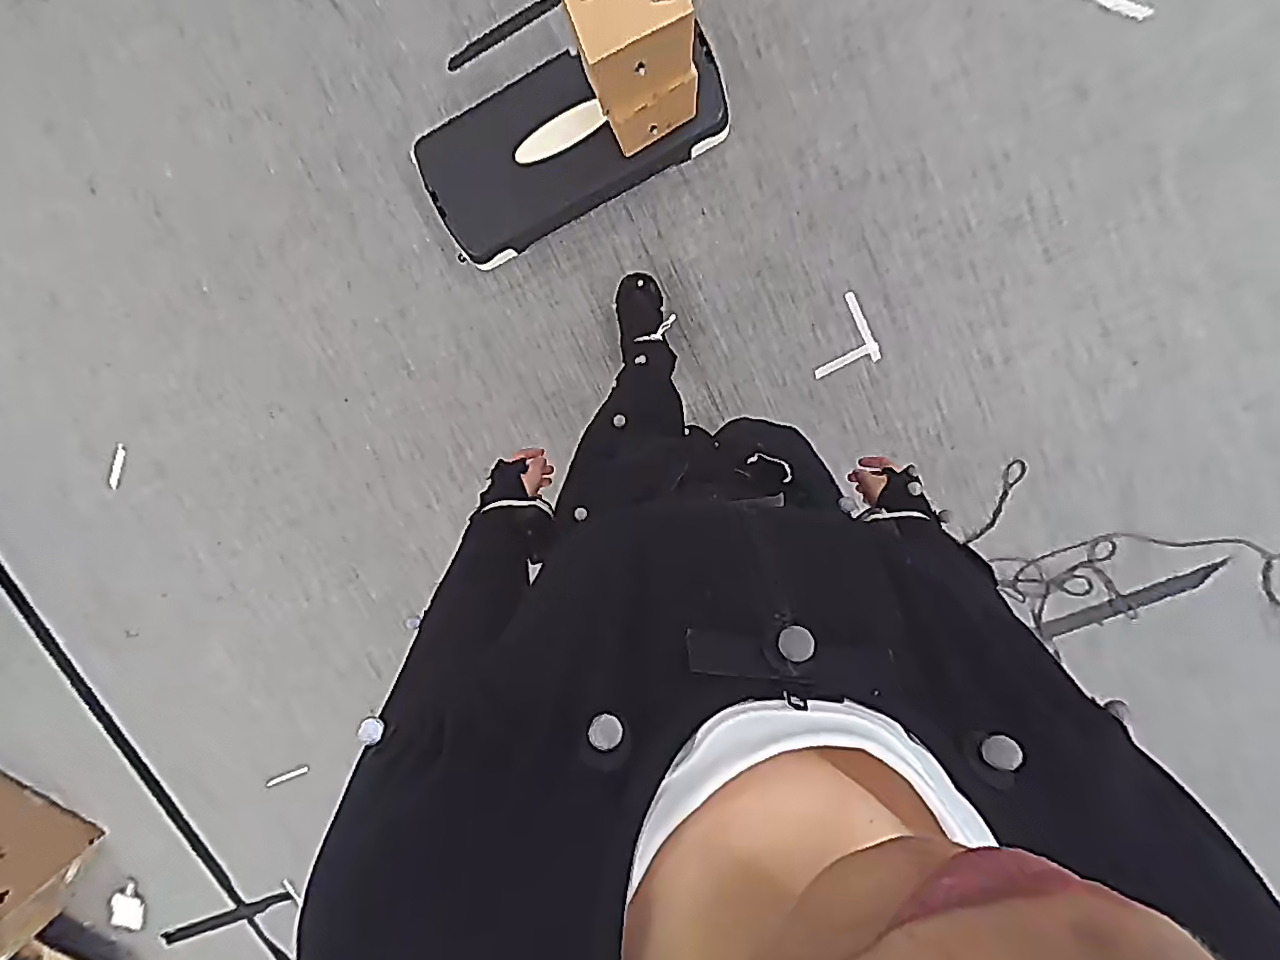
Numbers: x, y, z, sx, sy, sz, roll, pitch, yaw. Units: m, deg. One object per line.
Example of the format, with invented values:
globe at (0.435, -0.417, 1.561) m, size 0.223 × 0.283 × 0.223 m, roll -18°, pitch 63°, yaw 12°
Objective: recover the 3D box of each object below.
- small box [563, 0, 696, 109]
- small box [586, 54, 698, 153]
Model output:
small box at (-0.022, -0.752, 0.875) m, size 0.179 × 0.176 × 0.168 m, roll -21°, pitch 101°, yaw 8°
small box at (-0.002, -0.777, 1.037) m, size 0.168 × 0.176 × 0.179 m, roll -27°, pitch 100°, yaw 9°
